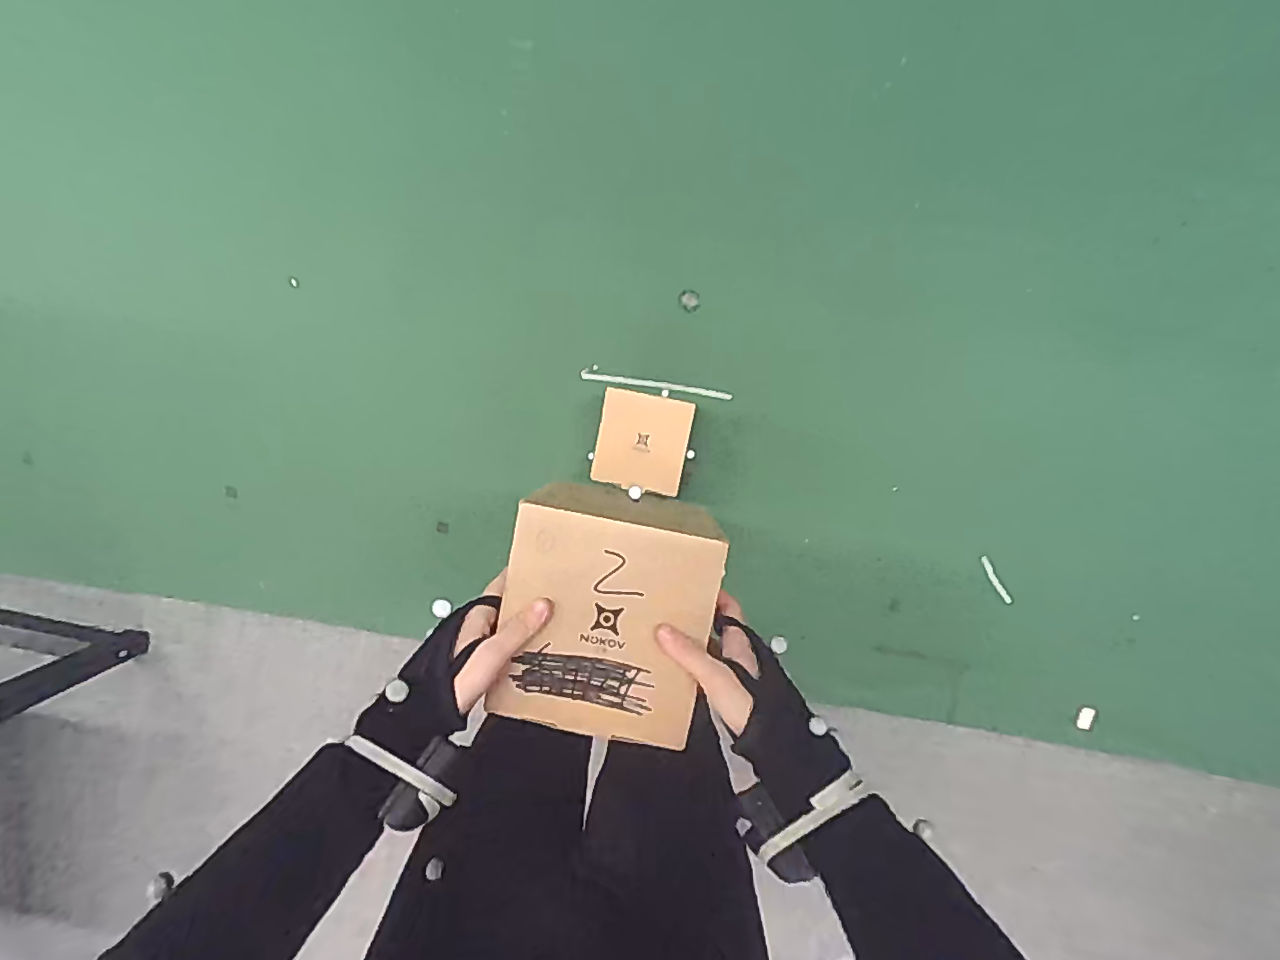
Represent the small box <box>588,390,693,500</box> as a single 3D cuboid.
[{"bbox_3d":[0.003,-0.075,1.061,0.168,0.176,0.179,12,100,2],"label":"small box"}]
